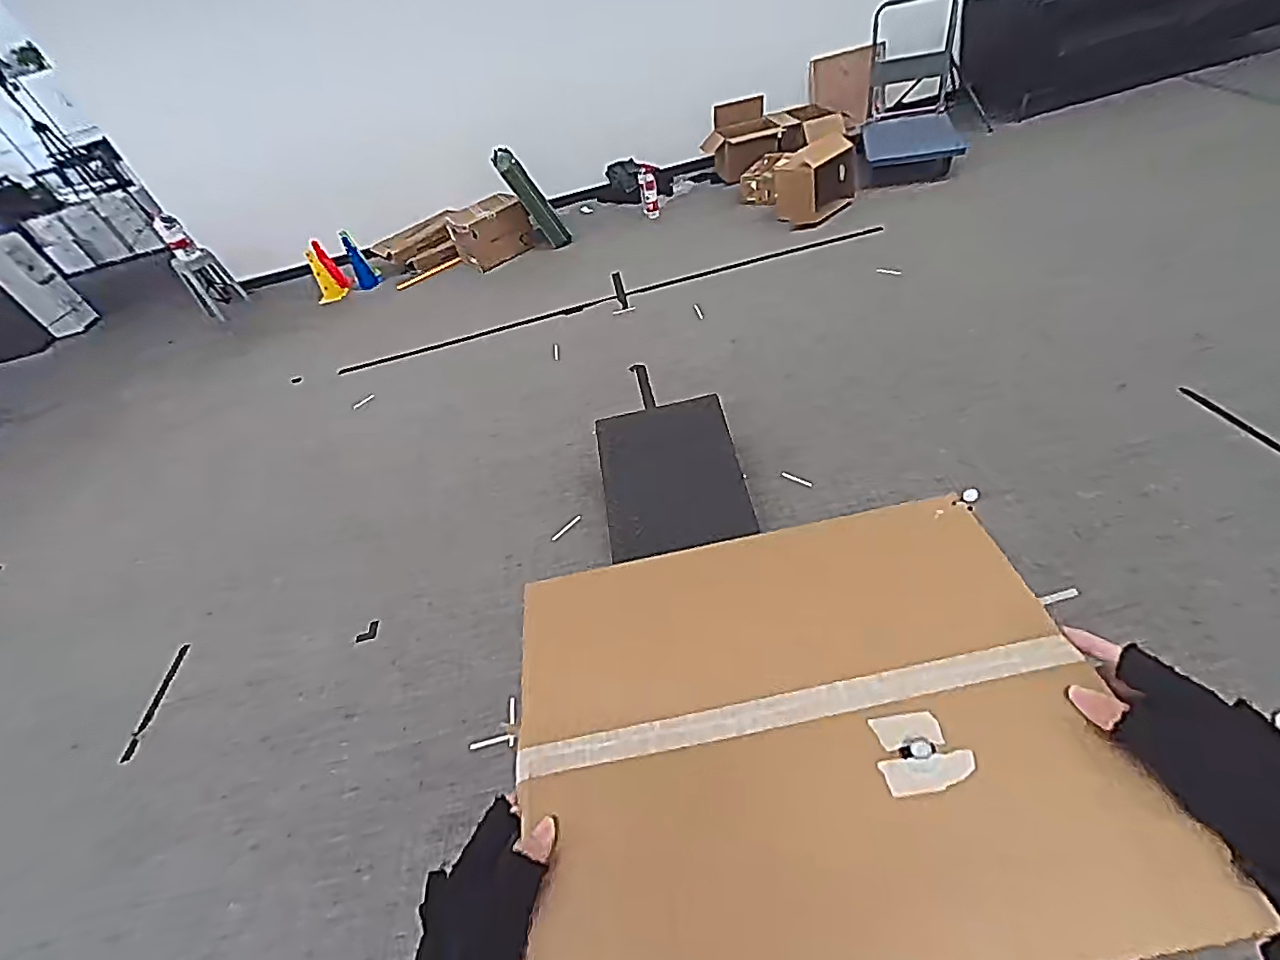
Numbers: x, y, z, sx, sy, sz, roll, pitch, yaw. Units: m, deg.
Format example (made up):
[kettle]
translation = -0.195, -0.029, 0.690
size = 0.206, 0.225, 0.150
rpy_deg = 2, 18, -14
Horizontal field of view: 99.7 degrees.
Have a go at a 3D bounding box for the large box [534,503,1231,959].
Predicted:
[large box]
translation = 0.138, 0.272, 0.509
size = 0.408, 0.320, 0.320
rpy_deg = -12, 46, 1
